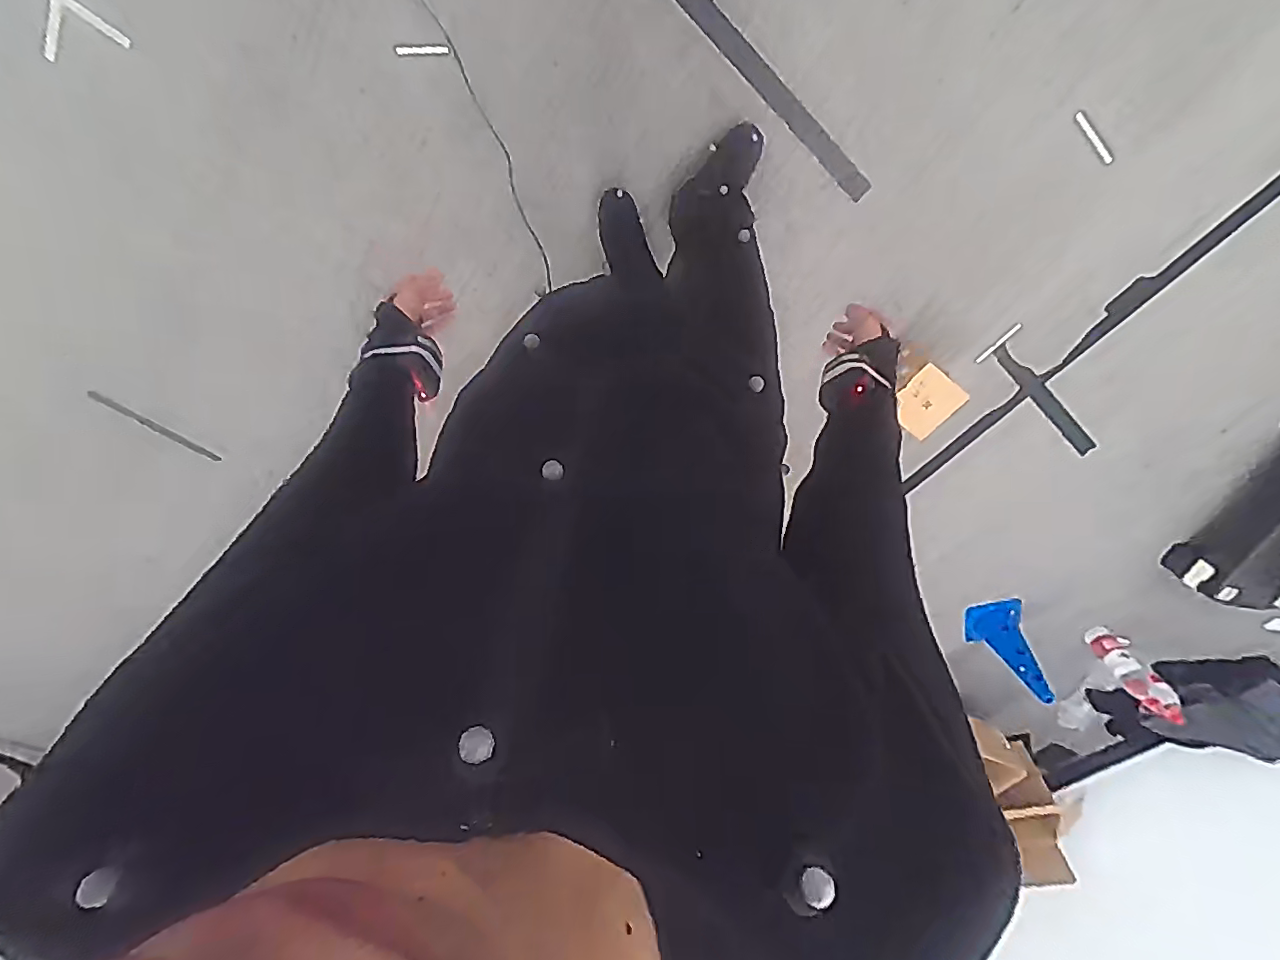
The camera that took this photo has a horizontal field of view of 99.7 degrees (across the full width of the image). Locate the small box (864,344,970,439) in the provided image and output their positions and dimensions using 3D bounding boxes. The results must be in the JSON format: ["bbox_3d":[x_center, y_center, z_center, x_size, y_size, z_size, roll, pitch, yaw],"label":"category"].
[{"bbox_3d":[0.768,-0.254,1.518,0.179,0.176,0.168,32,118,-17],"label":"small box"}]
